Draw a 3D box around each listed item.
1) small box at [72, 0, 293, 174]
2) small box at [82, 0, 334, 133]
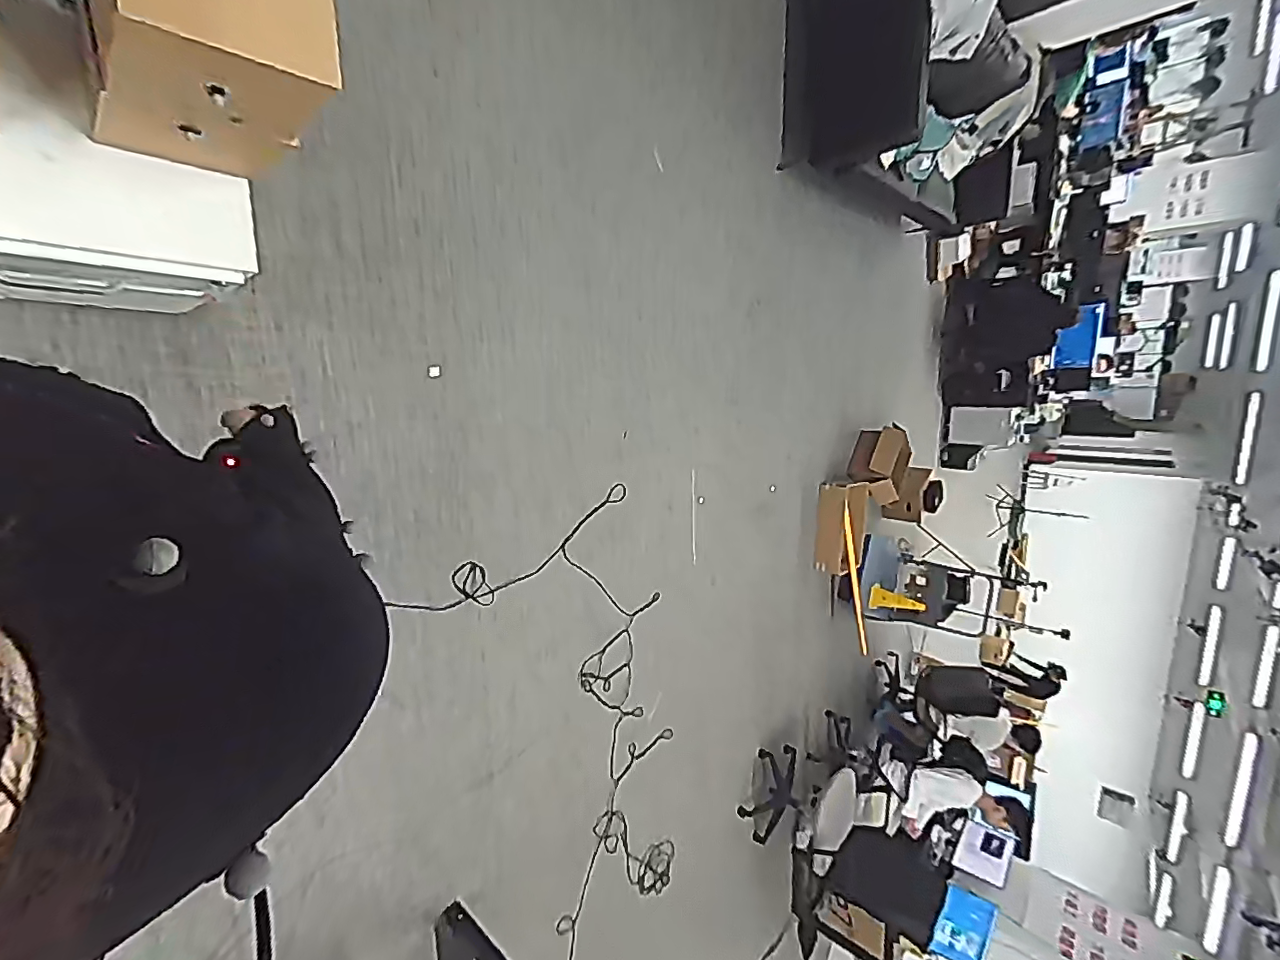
[{"bbox_3d":[-0.539,-0.488,0.638,0.179,0.176,0.168,-9,103,-47],"label":"small box"},{"bbox_3d":[-0.421,-0.473,0.524,0.168,0.176,0.179,-13,105,-46],"label":"small box"}]
